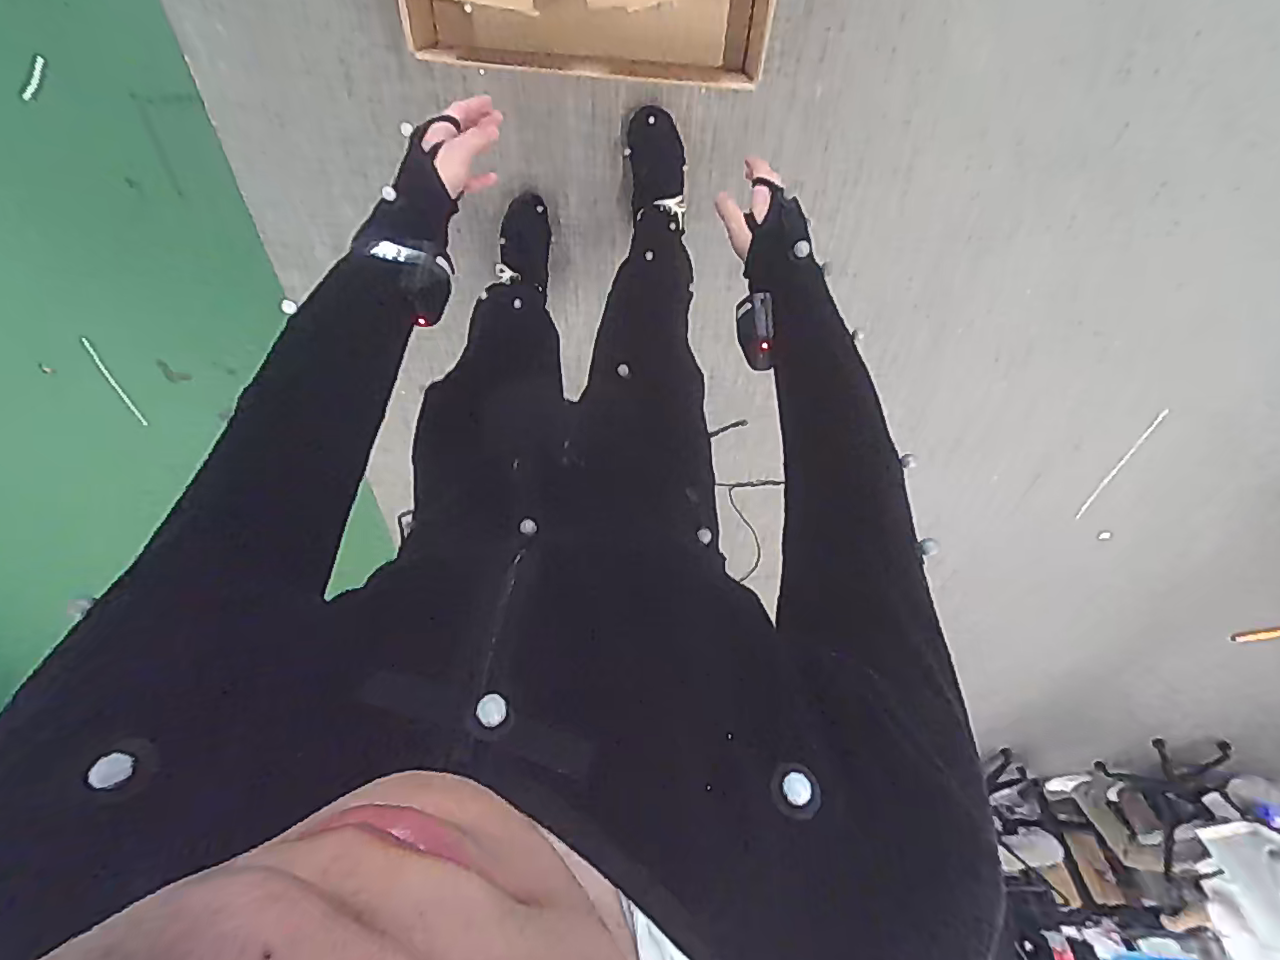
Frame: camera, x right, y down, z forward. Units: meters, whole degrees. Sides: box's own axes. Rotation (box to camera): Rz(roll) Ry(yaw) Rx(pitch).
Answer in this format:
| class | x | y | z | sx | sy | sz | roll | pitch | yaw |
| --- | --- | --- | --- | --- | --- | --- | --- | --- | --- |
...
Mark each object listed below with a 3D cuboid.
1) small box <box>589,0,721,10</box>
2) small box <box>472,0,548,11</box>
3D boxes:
| class | x | y | z | sx | sy | sz | roll | pitch | yaw |
| --- | --- | --- | --- | --- | --- | --- | --- | --- | --- |
| small box | 0.025 | -0.651 | 0.610 | 0.179 | 0.176 | 0.168 | -2 | 134 | 4 |
| small box | -0.217 | -0.763 | 0.738 | 0.179 | 0.176 | 0.168 | 6 | 133 | -5 |
